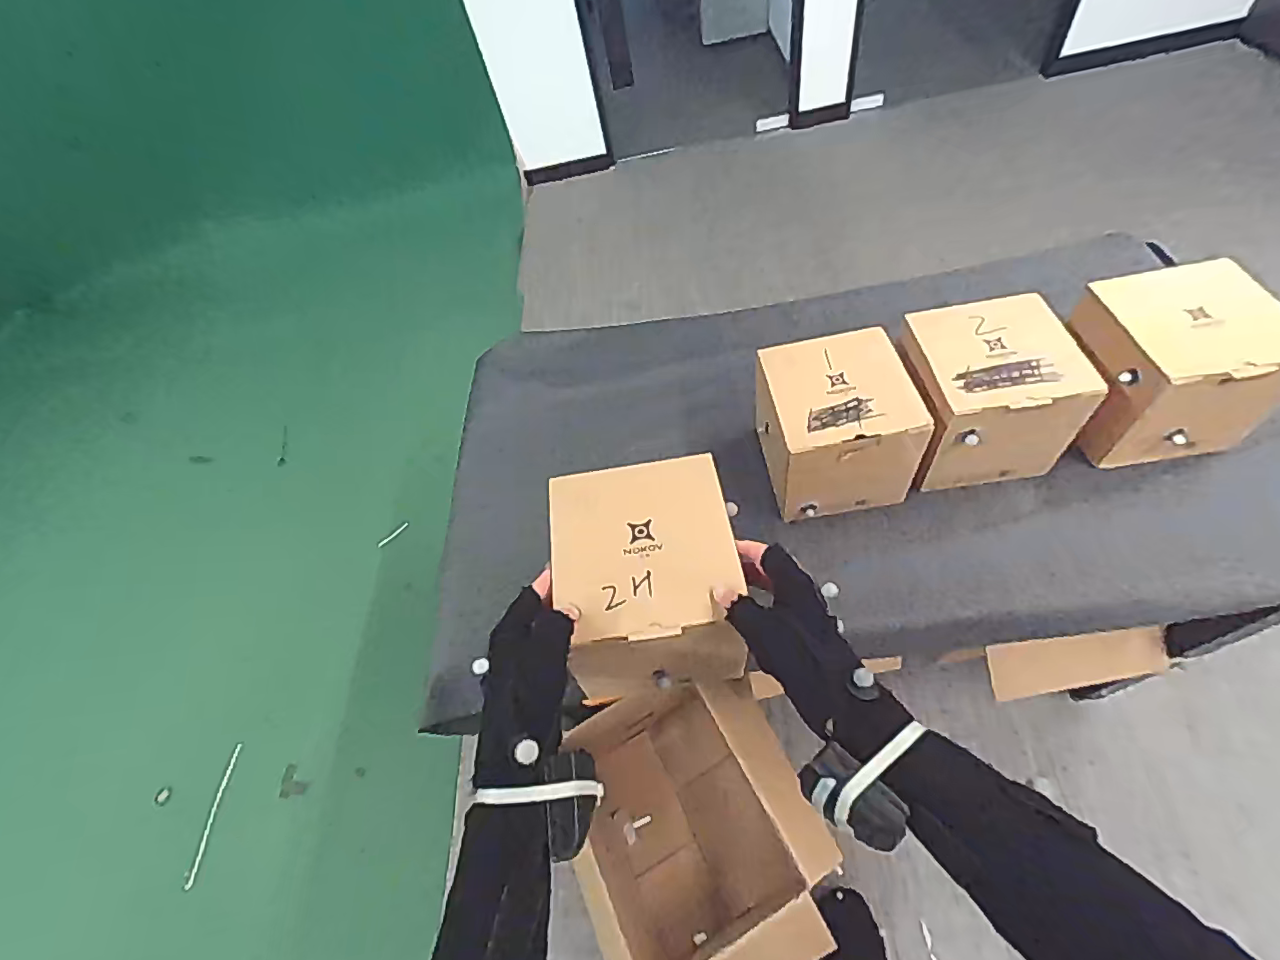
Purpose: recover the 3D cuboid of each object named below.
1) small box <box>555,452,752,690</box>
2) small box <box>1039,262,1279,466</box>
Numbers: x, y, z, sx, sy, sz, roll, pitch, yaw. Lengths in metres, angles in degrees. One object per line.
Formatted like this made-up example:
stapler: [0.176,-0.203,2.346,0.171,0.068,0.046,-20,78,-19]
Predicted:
small box: [0.011,0.098,0.561,0.168,0.176,0.179,-10,55,1]
small box: [0.661,-0.143,0.691,0.168,0.176,0.179,-9,56,6]
